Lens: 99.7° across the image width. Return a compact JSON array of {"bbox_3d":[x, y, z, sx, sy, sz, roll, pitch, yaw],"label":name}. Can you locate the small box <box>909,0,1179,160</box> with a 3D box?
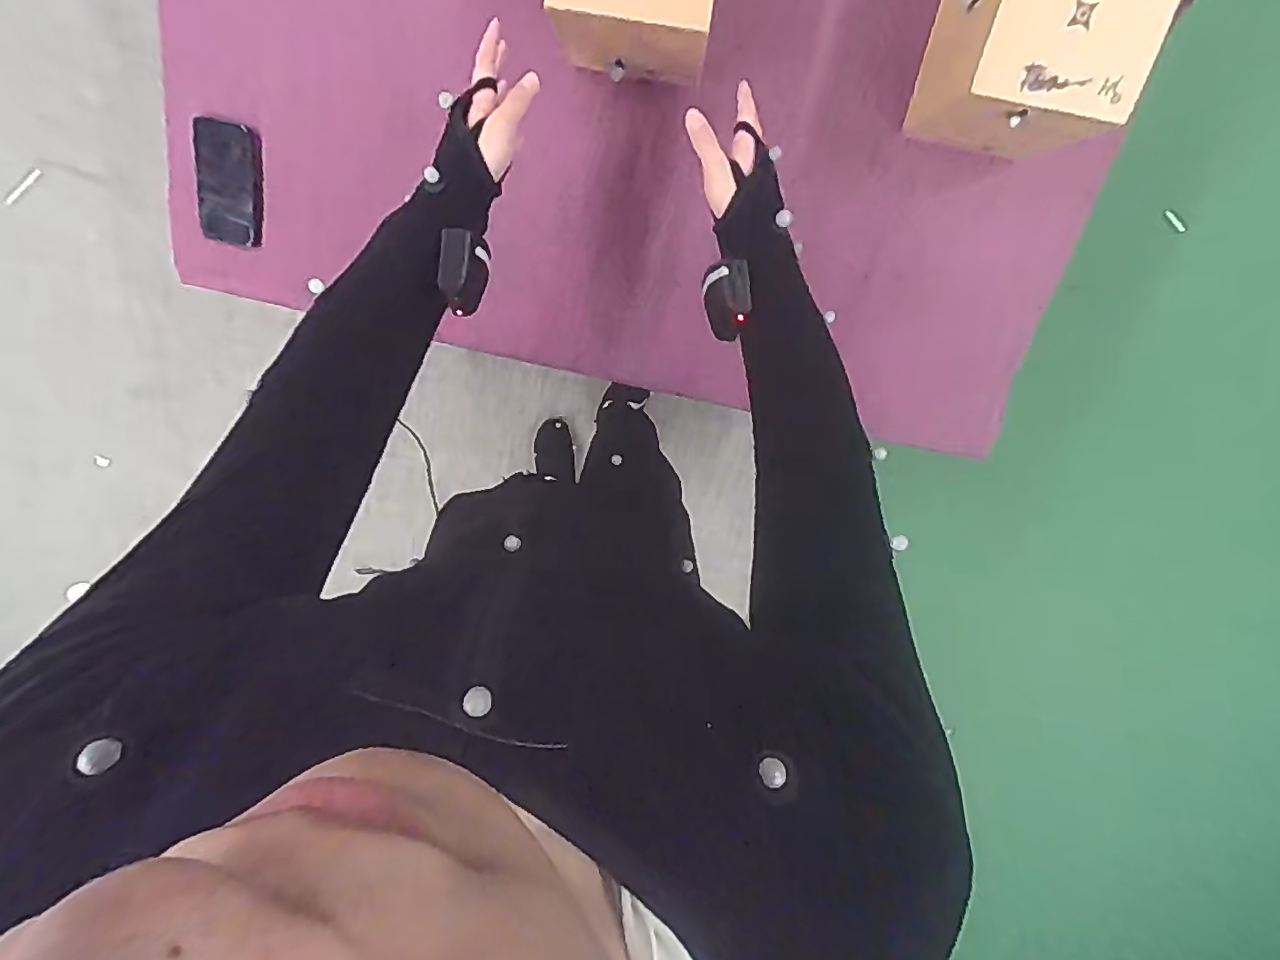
[{"bbox_3d":[0.423,-0.476,0.584,0.168,0.176,0.179,11,109,-1],"label":"small box"}]

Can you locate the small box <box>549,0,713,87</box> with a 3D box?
[{"bbox_3d":[0.002,-0.556,0.569,0.168,0.176,0.179,9,110,-1],"label":"small box"}]
